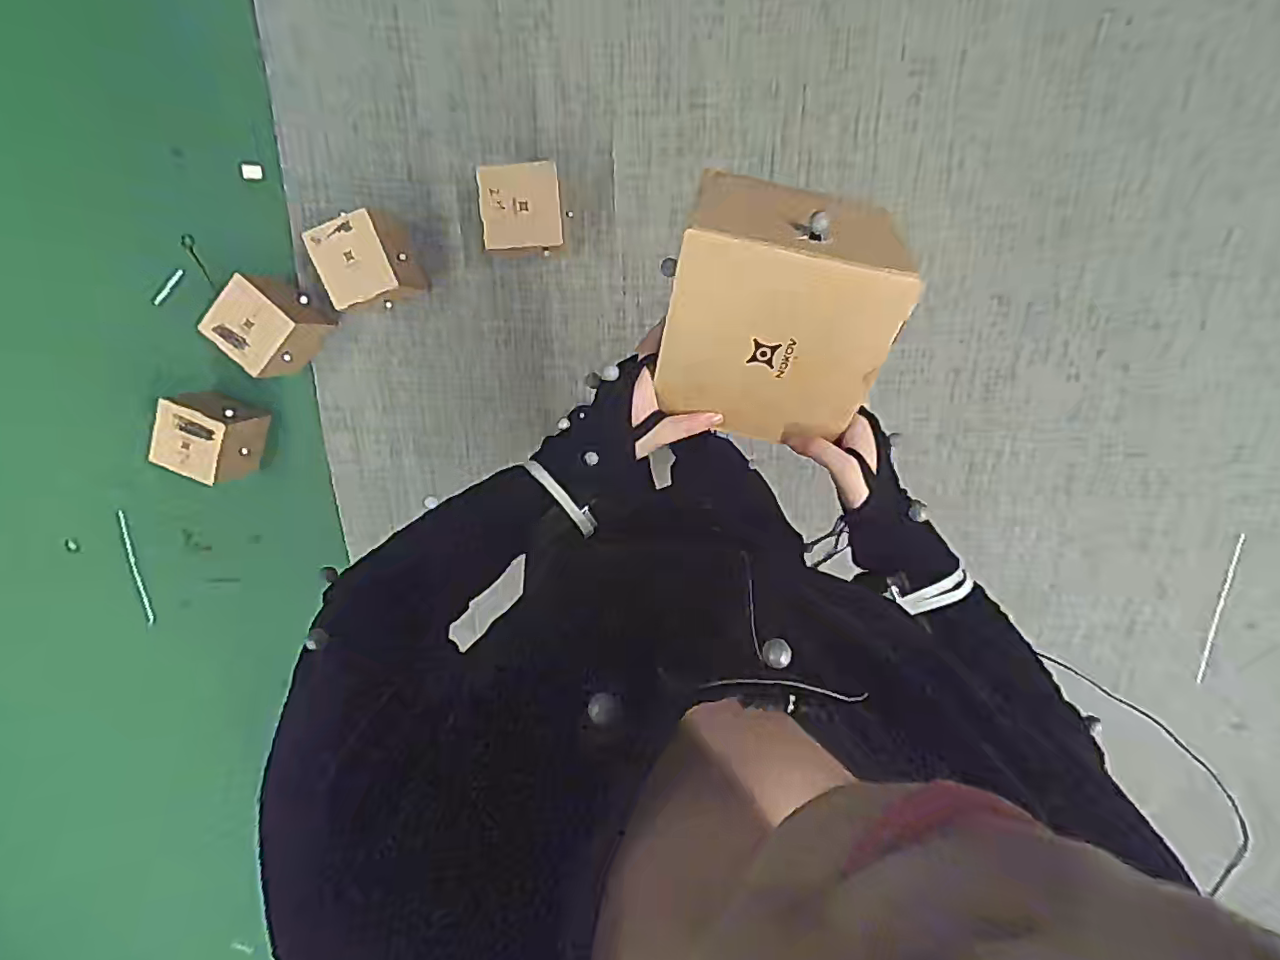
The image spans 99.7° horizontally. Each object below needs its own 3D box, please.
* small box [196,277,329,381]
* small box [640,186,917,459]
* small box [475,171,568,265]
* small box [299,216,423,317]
[{"bbox_3d":[-0.911,-0.365,1.323,0.179,0.176,0.168,-44,100,11],"label":"small box"},{"bbox_3d":[0.109,-0.148,0.491,0.179,0.176,0.168,13,132,-1],"label":"small box"},{"bbox_3d":[-0.261,-0.593,1.240,0.179,0.176,0.168,-2,105,2],"label":"small box"},{"bbox_3d":[-0.646,-0.497,1.279,0.168,0.176,0.179,-17,105,6],"label":"small box"}]
